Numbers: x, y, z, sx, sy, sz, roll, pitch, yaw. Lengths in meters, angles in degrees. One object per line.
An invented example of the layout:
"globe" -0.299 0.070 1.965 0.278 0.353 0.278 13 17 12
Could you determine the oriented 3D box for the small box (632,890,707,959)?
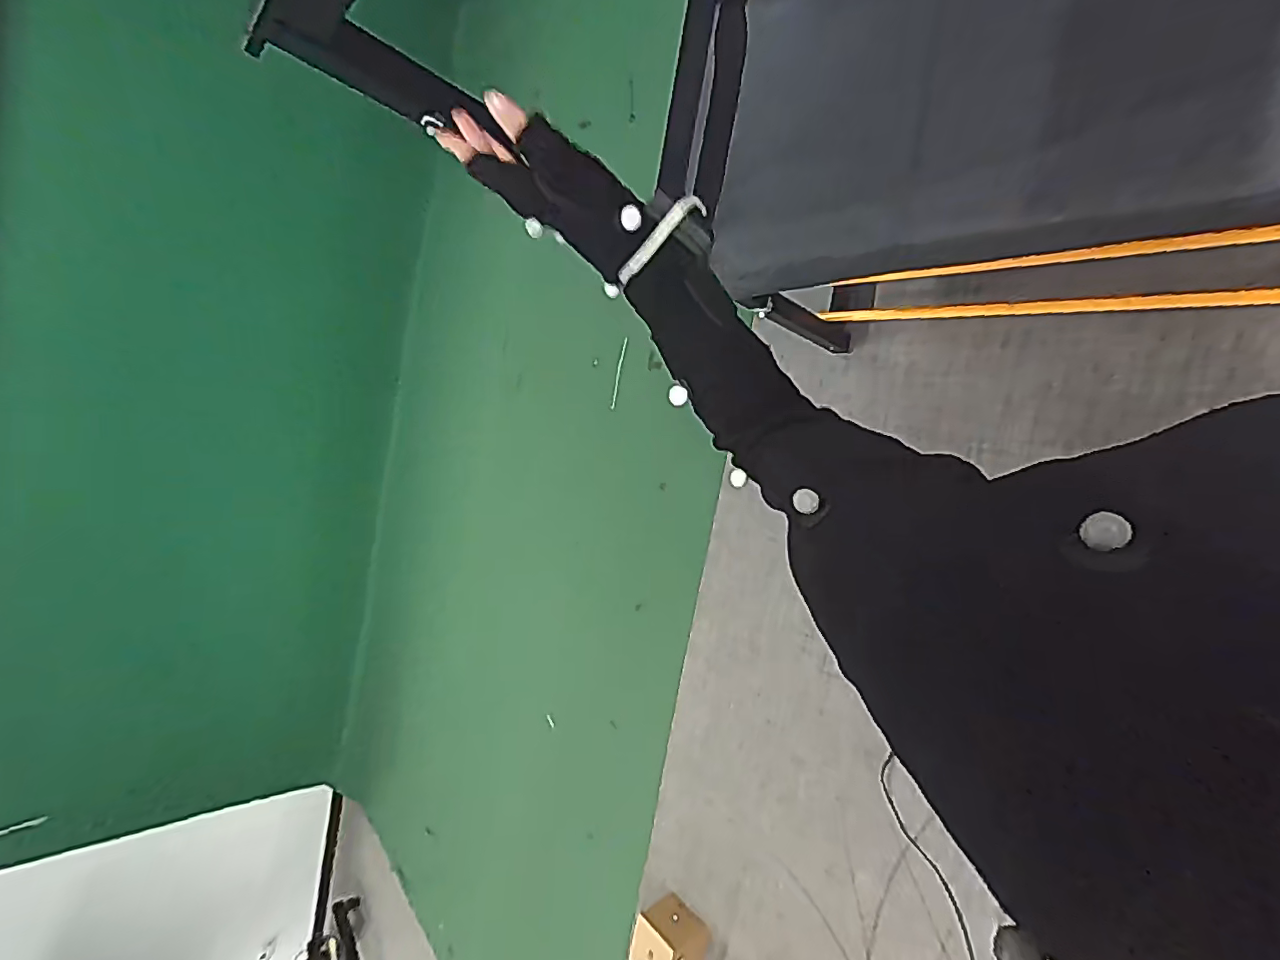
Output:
"small box" 0.103 1.527 1.801 0.168 0.176 0.179 16 96 47
